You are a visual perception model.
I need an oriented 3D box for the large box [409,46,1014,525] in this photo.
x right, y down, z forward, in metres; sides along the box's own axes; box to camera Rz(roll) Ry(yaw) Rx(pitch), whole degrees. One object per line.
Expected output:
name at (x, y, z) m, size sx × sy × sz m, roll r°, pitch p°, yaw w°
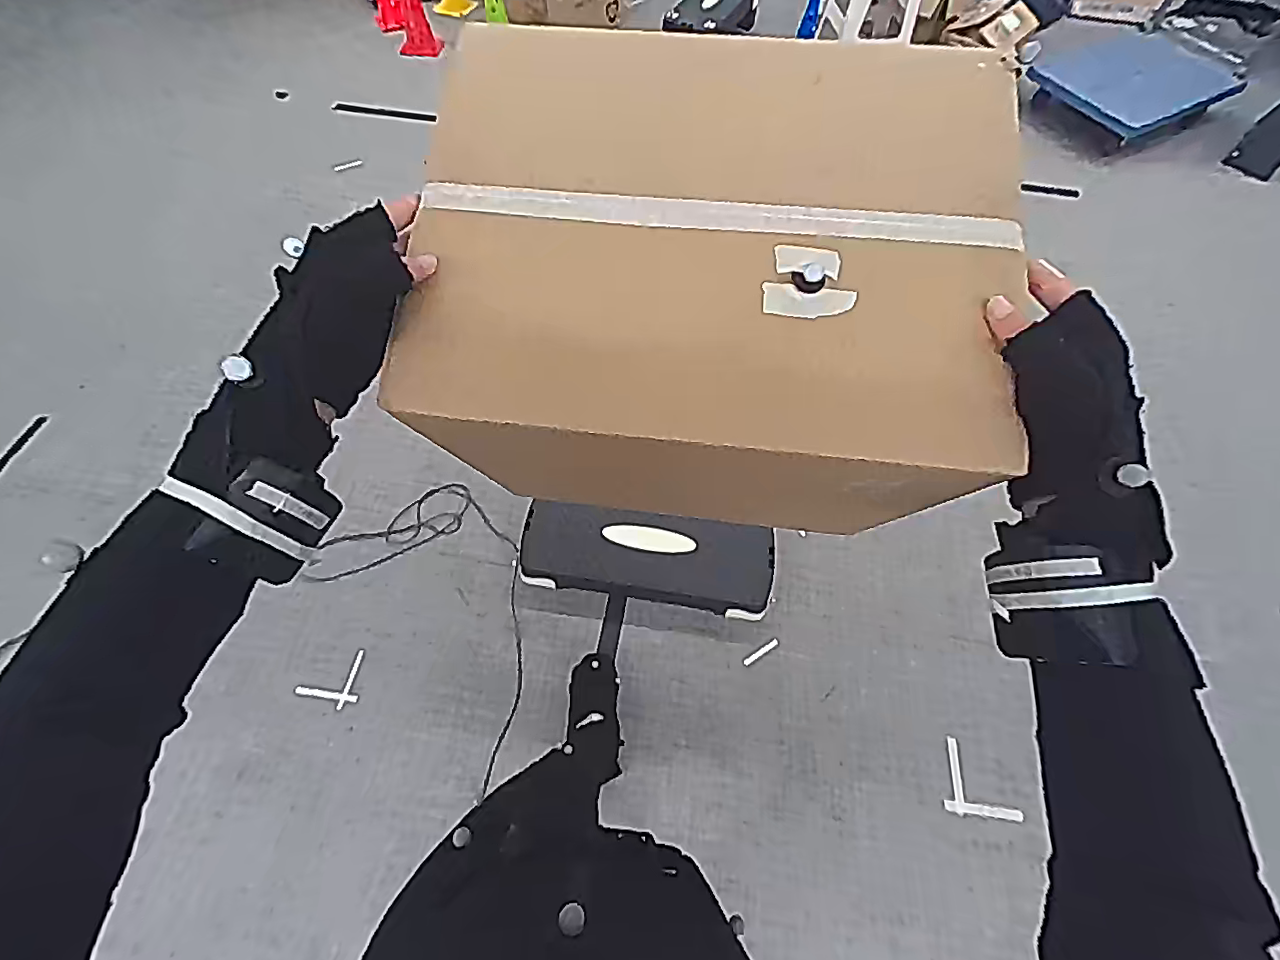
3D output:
large box at (0.059, -0.145, 0.528) m, size 0.408 × 0.320 × 0.320 m, roll 6°, pitch 79°, yaw 3°
